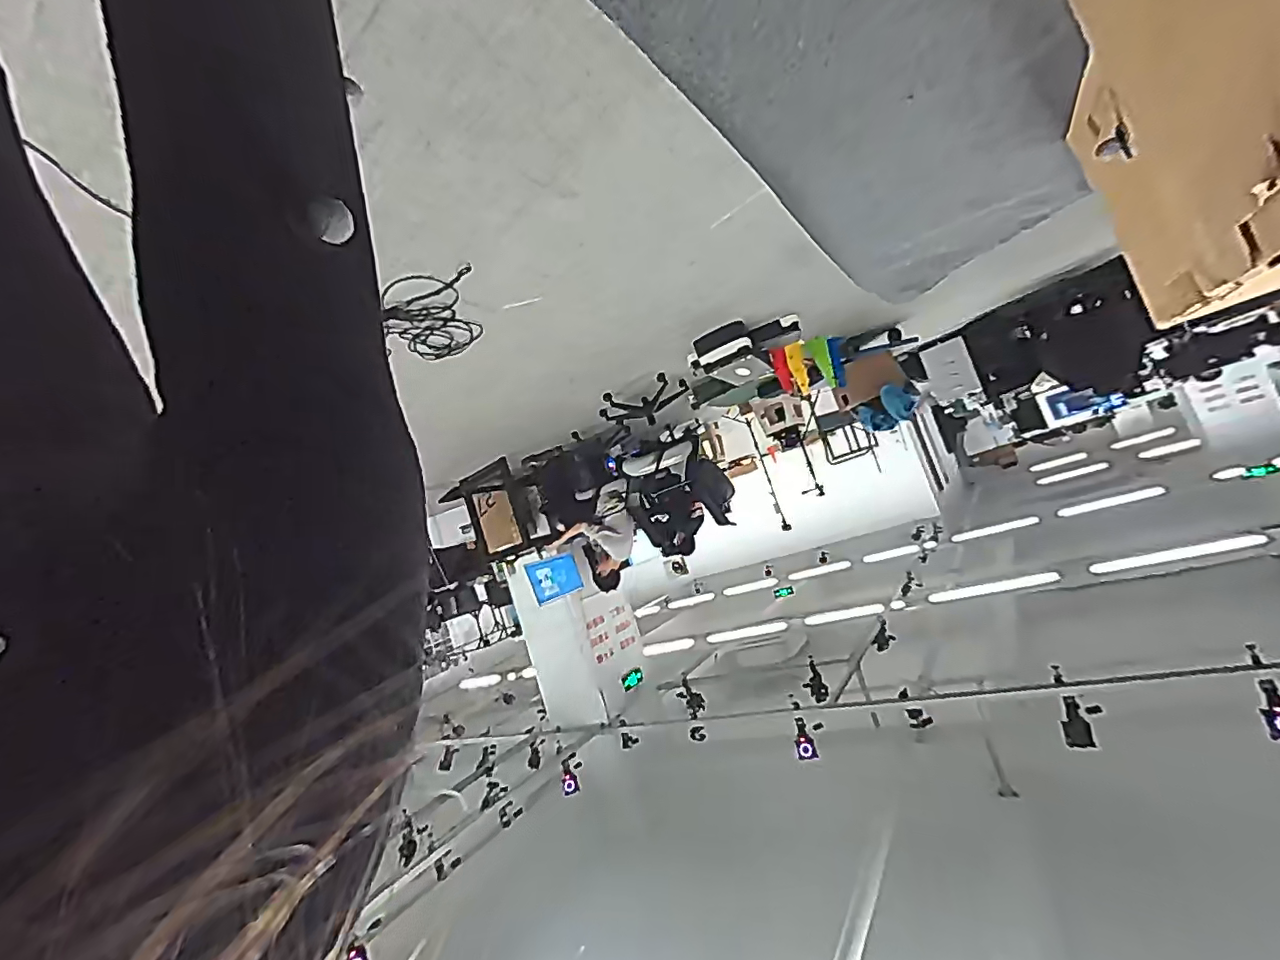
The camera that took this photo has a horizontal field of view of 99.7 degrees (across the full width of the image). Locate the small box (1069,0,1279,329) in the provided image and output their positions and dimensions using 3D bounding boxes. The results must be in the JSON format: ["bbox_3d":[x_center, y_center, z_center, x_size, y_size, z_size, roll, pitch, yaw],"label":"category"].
[{"bbox_3d":[0.376,-0.205,0.291,0.179,0.176,0.168,-21,175,33],"label":"small box"}]
